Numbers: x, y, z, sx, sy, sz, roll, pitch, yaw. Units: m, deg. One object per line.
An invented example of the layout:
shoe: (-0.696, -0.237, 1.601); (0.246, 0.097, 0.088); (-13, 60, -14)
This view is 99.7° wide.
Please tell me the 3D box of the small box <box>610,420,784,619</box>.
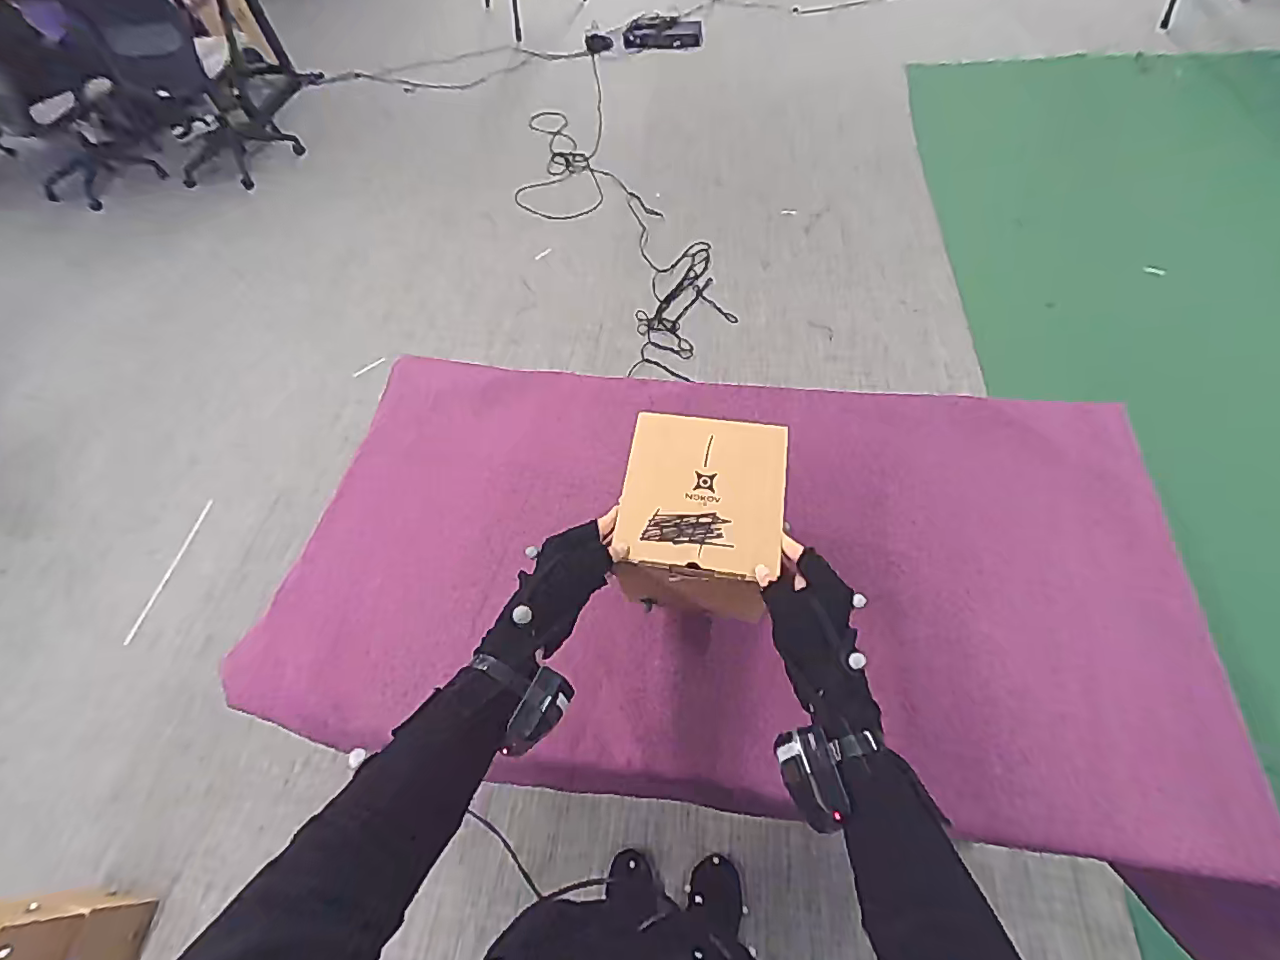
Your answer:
small box: (0.071, 0.053, 0.635); (0.168, 0.176, 0.179); (6, 62, 8)
